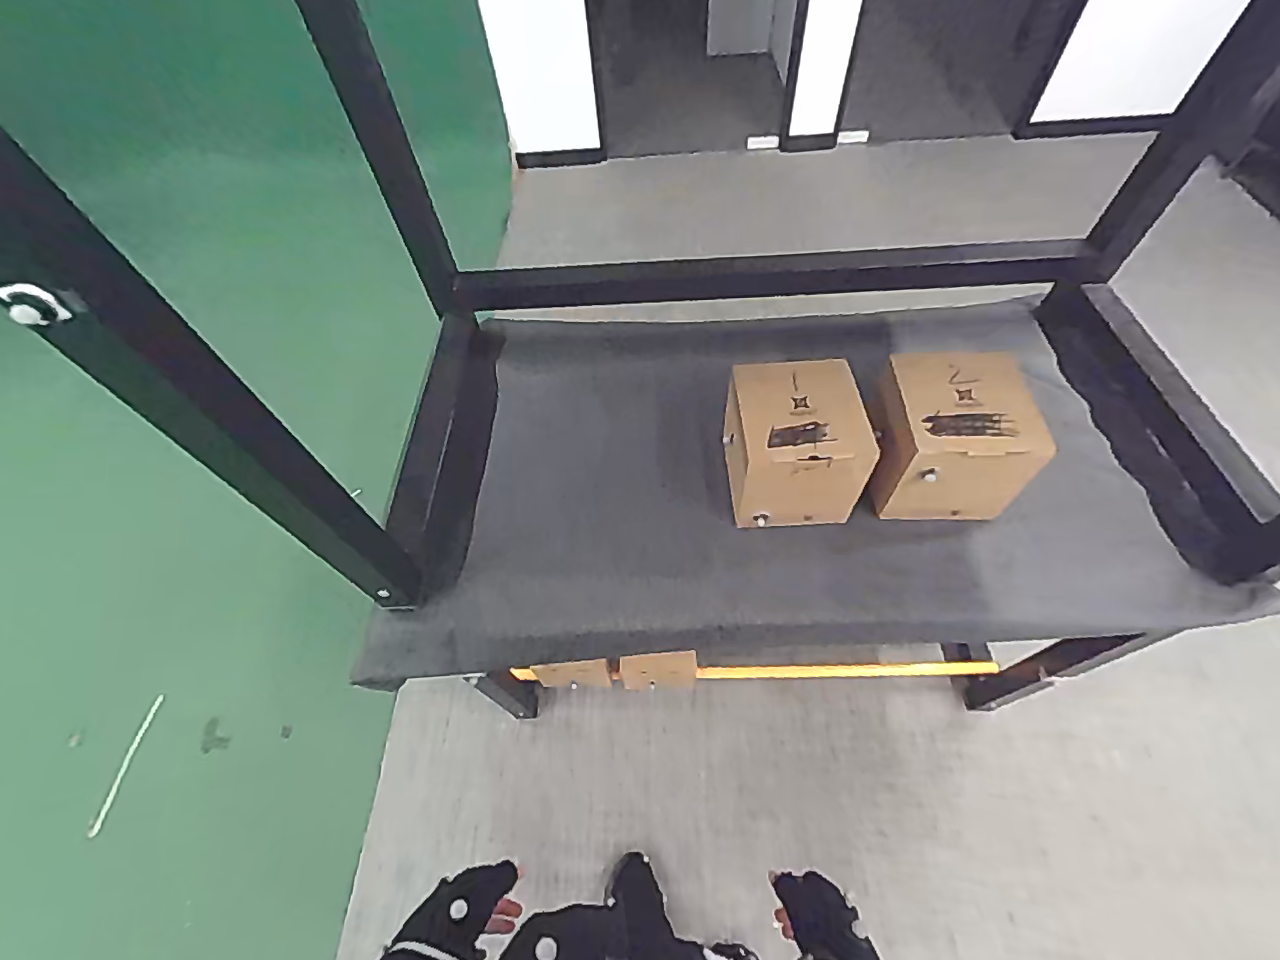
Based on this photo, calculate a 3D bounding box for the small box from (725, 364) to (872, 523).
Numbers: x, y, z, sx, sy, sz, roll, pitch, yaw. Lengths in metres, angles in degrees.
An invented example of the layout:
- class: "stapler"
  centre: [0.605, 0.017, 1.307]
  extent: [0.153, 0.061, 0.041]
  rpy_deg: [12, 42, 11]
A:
- class: "small box"
  centre: [0.220, -0.046, 0.803]
  extent: [0.168, 0.176, 0.179]
  rpy_deg: [-3, 54, 2]
